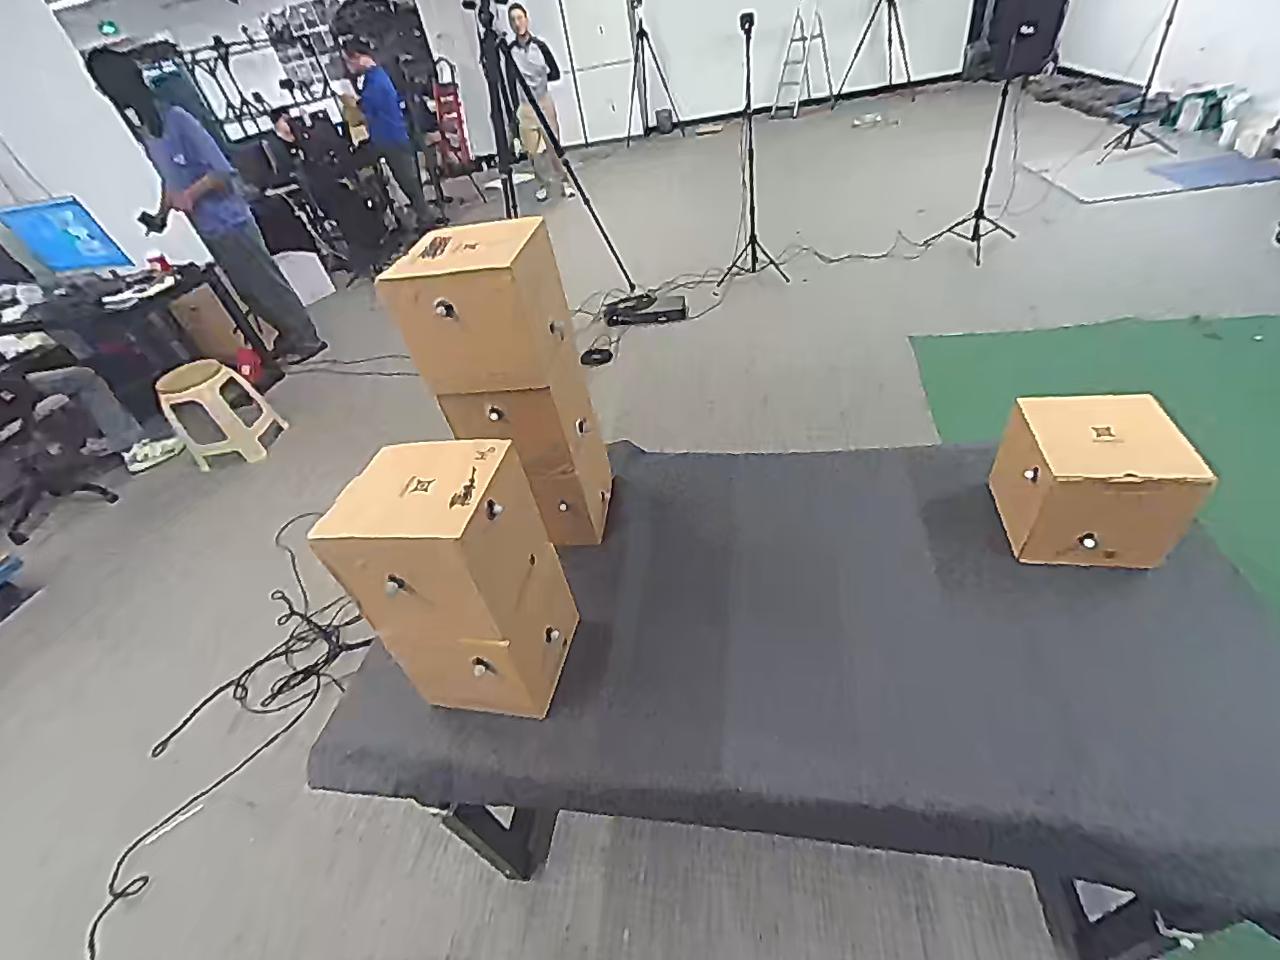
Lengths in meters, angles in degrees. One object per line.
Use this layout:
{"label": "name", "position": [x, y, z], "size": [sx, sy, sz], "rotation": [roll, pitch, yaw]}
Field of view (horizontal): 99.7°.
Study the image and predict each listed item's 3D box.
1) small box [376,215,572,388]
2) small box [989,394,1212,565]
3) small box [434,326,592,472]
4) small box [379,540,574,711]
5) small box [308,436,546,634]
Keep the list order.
{"label": "small box", "position": [-0.209, -0.238, 0.735], "size": [0.179, 0.176, 0.168], "rotation": [-1, 44, 11]}
{"label": "small box", "position": [0.622, -0.003, 0.765], "size": [0.168, 0.176, 0.179], "rotation": [1, 44, 15]}
{"label": "small box", "position": [-0.186, -0.124, 0.852], "size": [0.179, 0.176, 0.168], "rotation": [-2, 44, 9]}
{"label": "small box", "position": [-0.204, 0.194, 0.739], "size": [0.179, 0.176, 0.168], "rotation": [1, 40, 14]}
{"label": "small box", "position": [-0.232, 0.066, 0.640], "size": [0.179, 0.176, 0.168], "rotation": [-2, 40, 12]}
